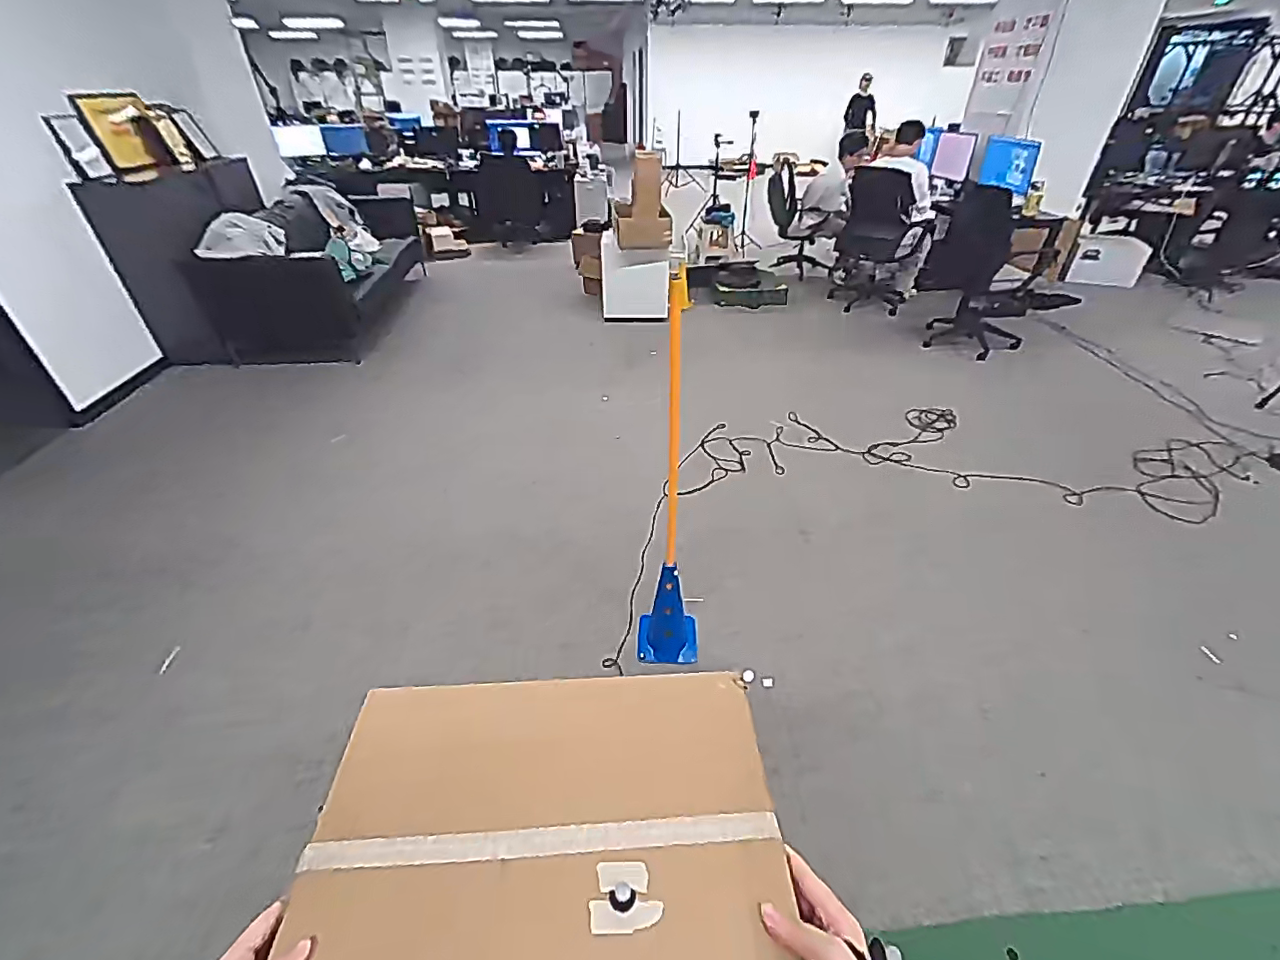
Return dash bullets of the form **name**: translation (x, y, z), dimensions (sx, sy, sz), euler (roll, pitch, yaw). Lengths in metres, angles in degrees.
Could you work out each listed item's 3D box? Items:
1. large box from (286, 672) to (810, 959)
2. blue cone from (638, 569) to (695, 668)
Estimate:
- **large box**: translation (-0.079, 0.434, 0.564), dimensions (0.408, 0.320, 0.320), euler (-1, 38, -4)
- **blue cone**: translation (0.090, 0.425, 1.755), dimensions (0.193, 0.380, 0.192), euler (2, 36, 3)
